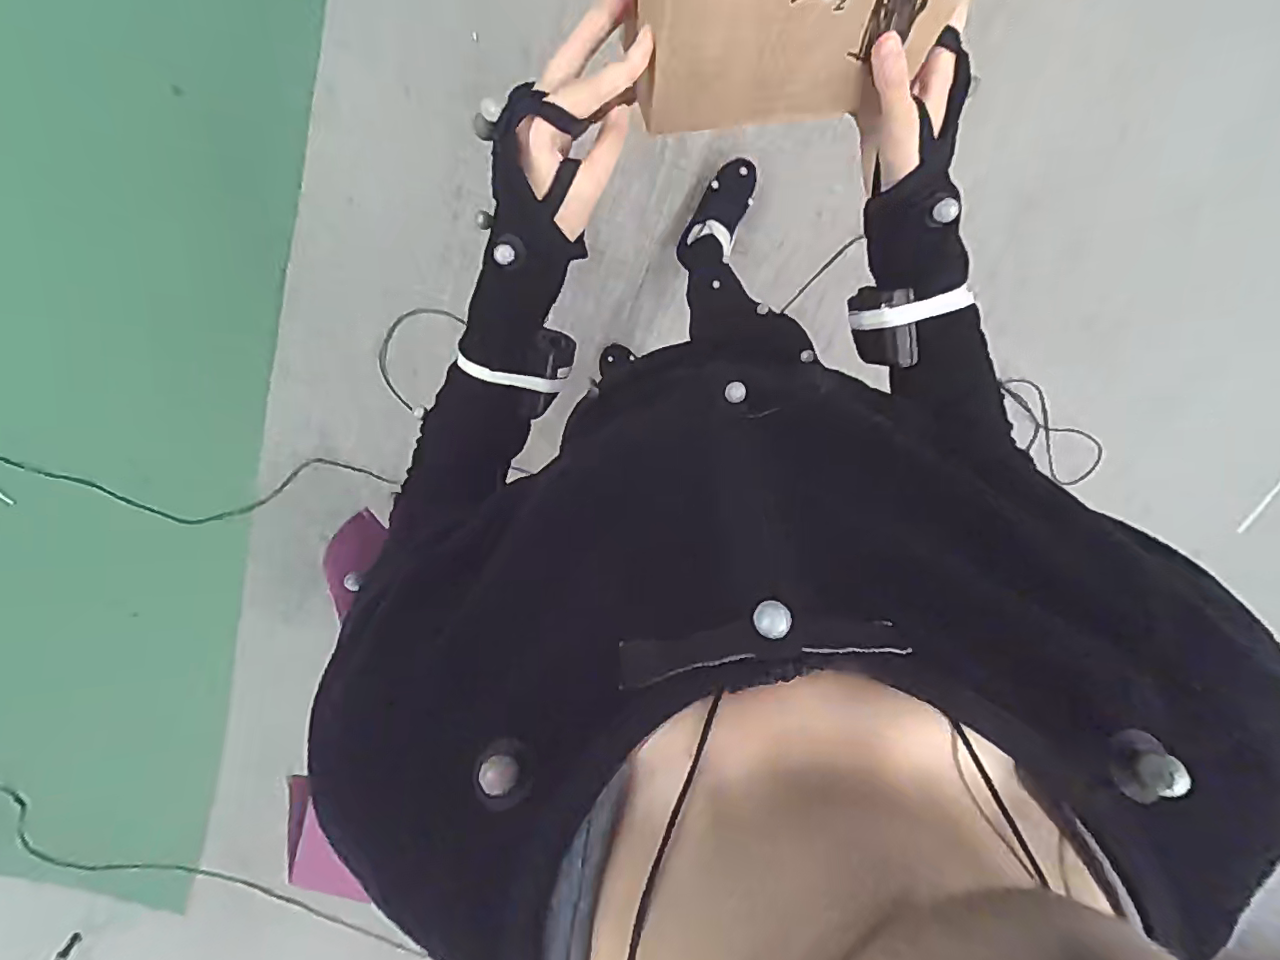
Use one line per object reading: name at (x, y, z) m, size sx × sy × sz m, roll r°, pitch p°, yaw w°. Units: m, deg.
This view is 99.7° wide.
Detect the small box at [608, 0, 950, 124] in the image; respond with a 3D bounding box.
small box at (0.073, -0.331, 0.282) m, size 0.179 × 0.168 × 0.176 m, roll -11°, pitch 77°, yaw -8°
